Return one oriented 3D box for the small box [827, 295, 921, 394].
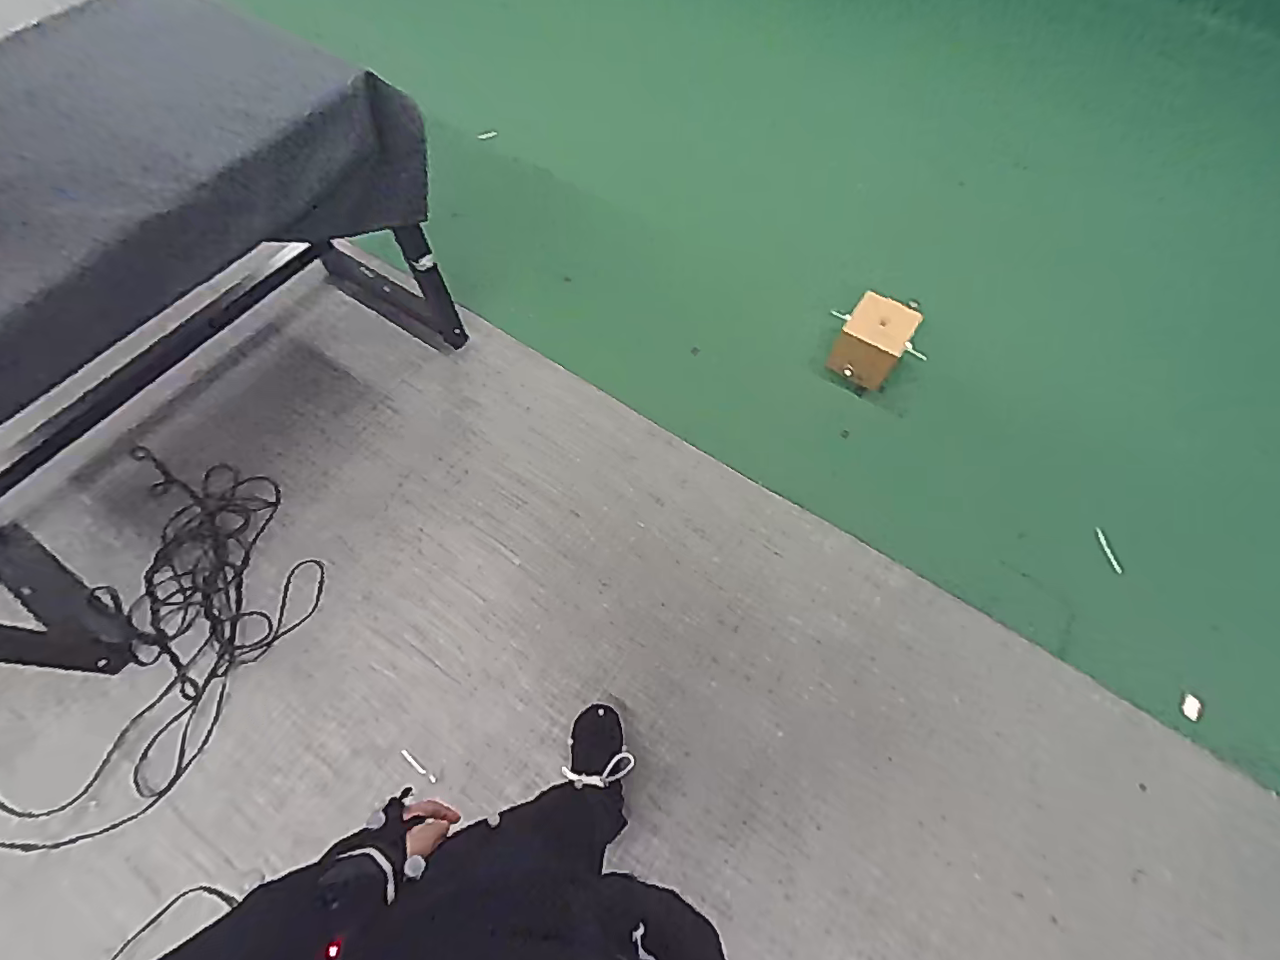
[{"bbox_3d":[0.661,-0.383,1.546,0.168,0.176,0.179,31,69,14],"label":"small box"}]
